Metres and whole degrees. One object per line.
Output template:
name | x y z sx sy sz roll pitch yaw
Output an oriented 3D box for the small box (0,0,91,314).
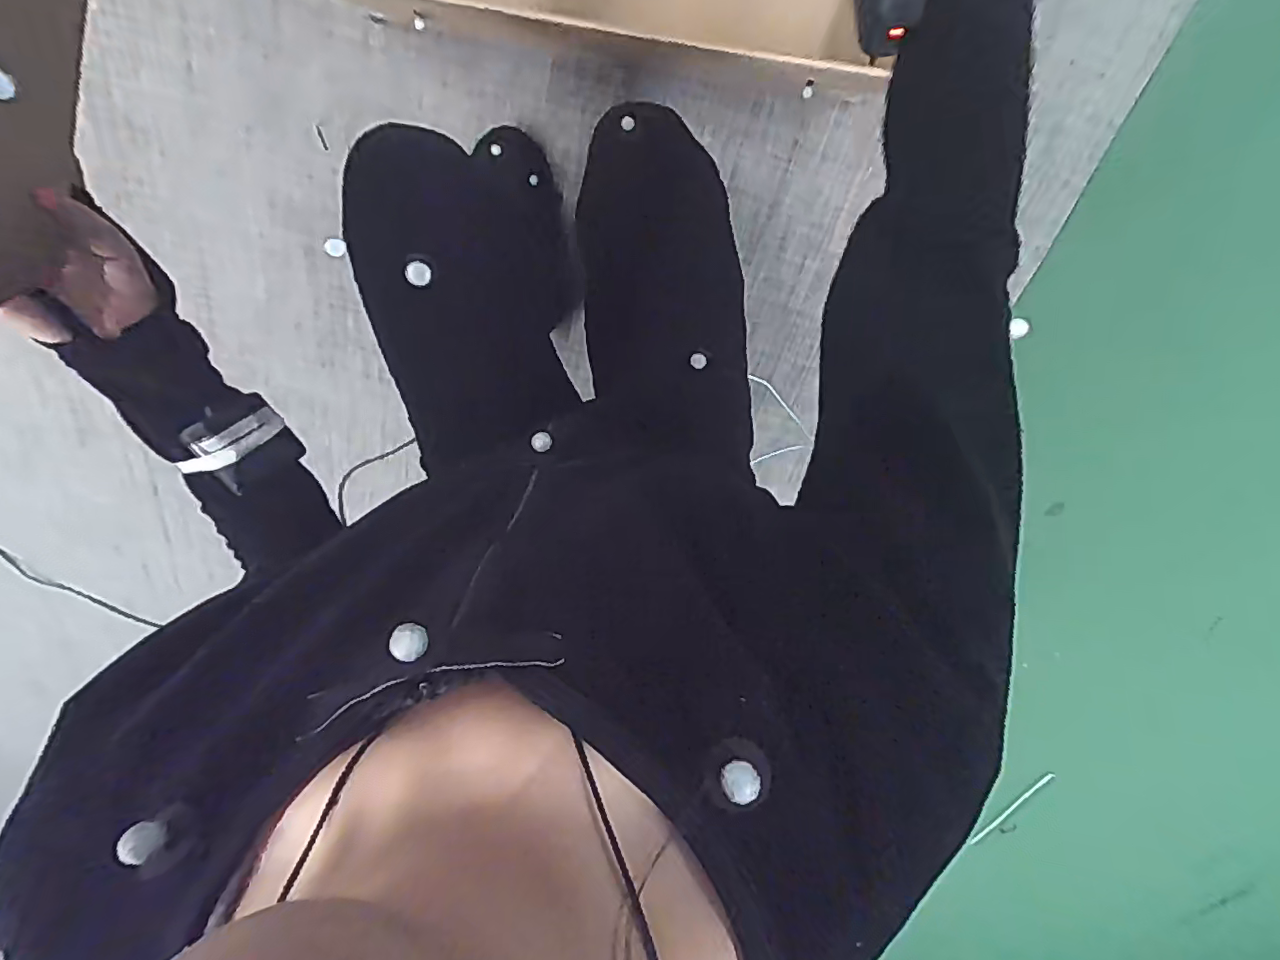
small box | -0.349 -0.157 0.192 0.168 0.176 0.179 23 124 -31
